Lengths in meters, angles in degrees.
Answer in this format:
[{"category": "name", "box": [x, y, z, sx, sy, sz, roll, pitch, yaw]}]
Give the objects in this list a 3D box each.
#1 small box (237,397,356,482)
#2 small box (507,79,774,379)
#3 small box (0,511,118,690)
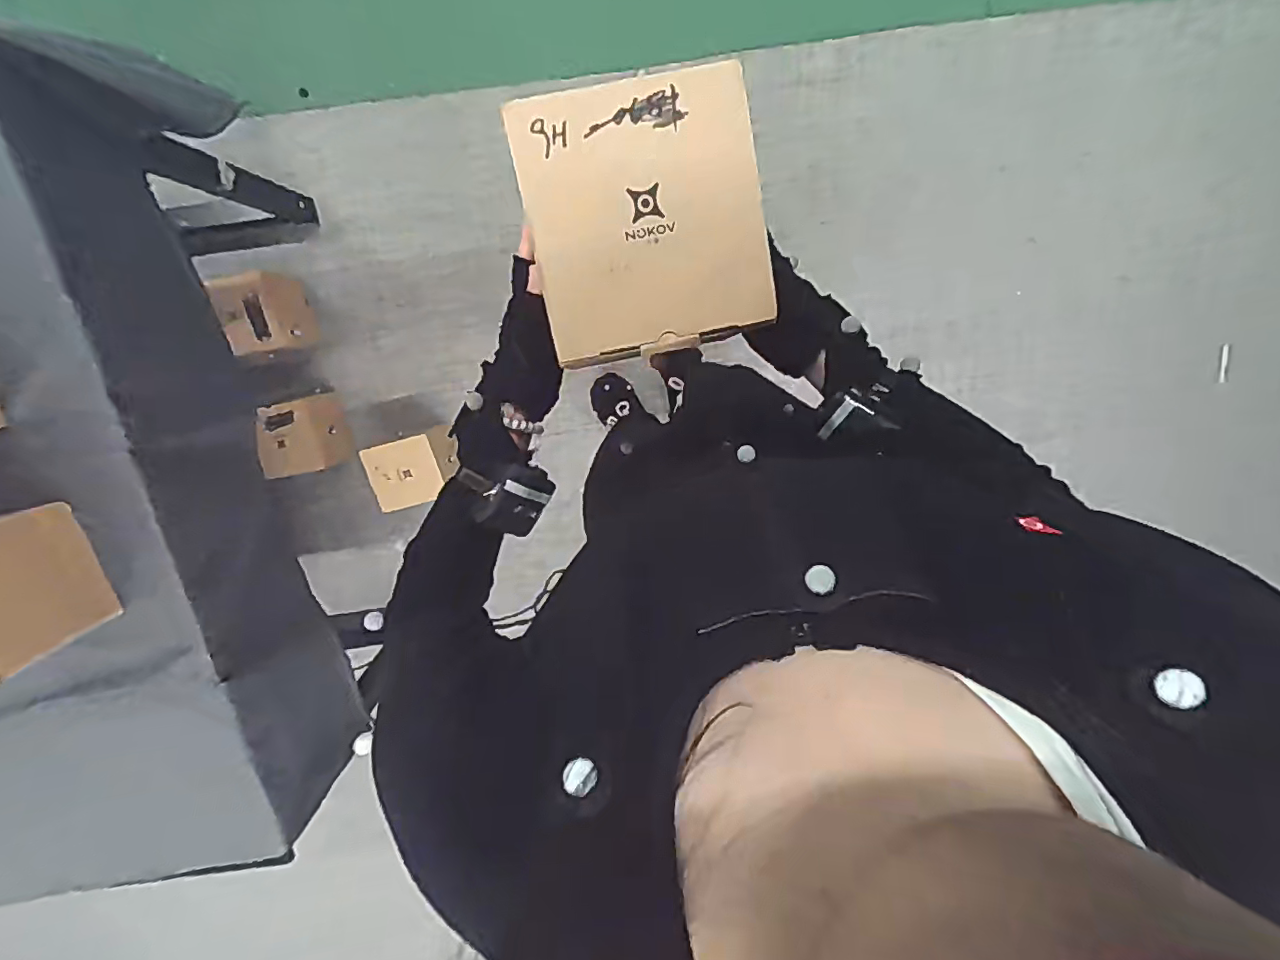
[{"category": "small box", "box": [-0.856, -0.109, 1.365, 0.168, 0.176, 0.179, -10, 106, 1]}, {"category": "small box", "box": [0.000, -0.189, 0.456, 0.168, 0.176, 0.179, -12, 102, -2]}, {"category": "small box", "box": [-0.840, 0.158, 0.687, 0.168, 0.176, 0.179, -12, 105, 2]}]
